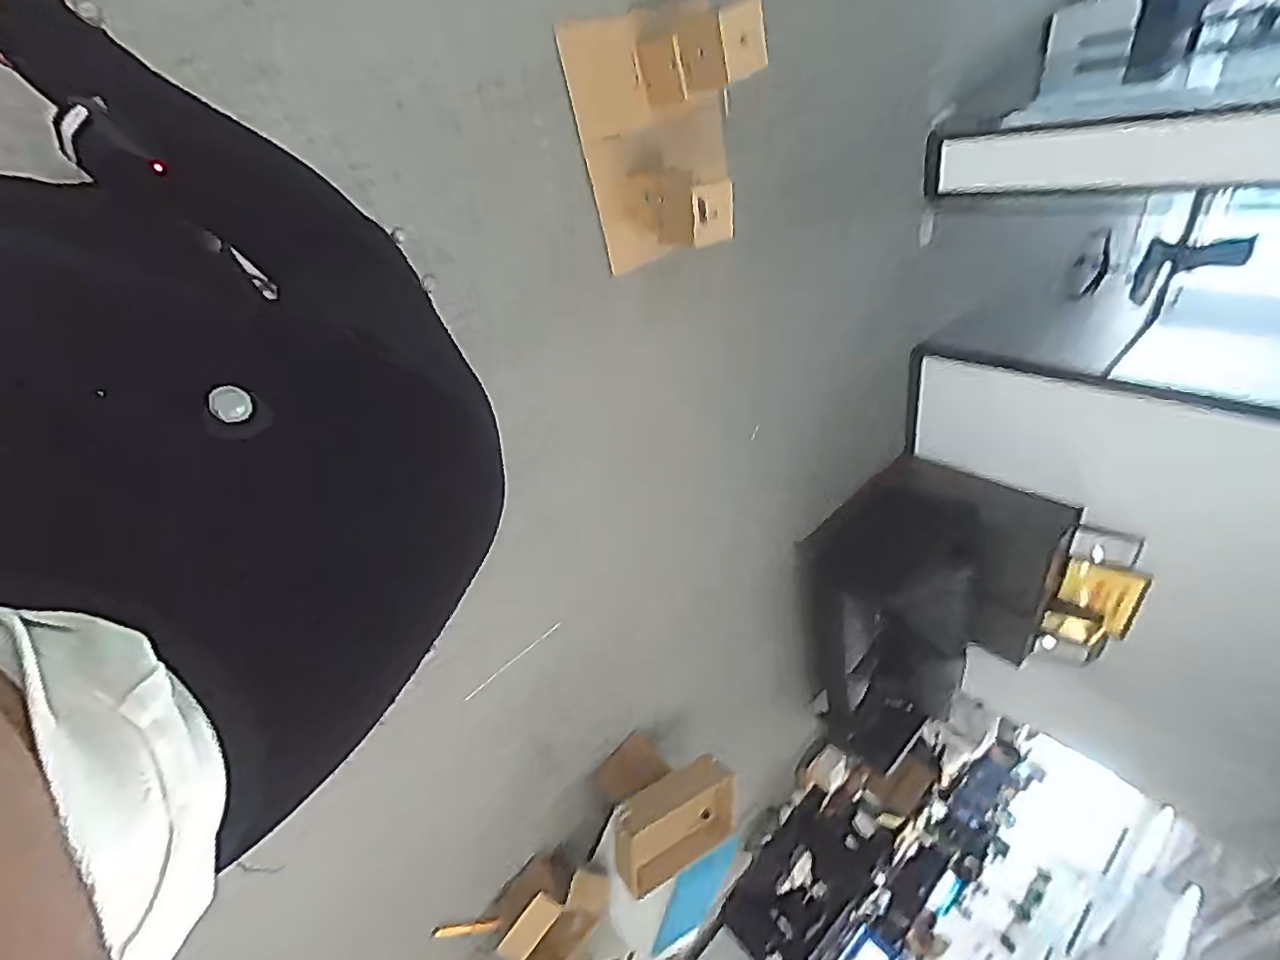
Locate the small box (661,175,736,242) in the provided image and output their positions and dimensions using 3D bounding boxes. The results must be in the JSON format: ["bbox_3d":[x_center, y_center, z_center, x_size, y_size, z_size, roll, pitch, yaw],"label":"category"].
[{"bbox_3d":[0.176,-0.842,1.677,0.179,0.176,0.168,-28,128,-31],"label":"small box"}]

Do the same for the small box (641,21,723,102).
[{"bbox_3d":[0.132,-1.284,1.649,0.179,0.176,0.168,-40,133,-20],"label":"small box"}]

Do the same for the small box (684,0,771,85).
[{"bbox_3d":[0.242,-1.248,1.529,0.179,0.176,0.168,-40,134,-21],"label":"small box"}]
